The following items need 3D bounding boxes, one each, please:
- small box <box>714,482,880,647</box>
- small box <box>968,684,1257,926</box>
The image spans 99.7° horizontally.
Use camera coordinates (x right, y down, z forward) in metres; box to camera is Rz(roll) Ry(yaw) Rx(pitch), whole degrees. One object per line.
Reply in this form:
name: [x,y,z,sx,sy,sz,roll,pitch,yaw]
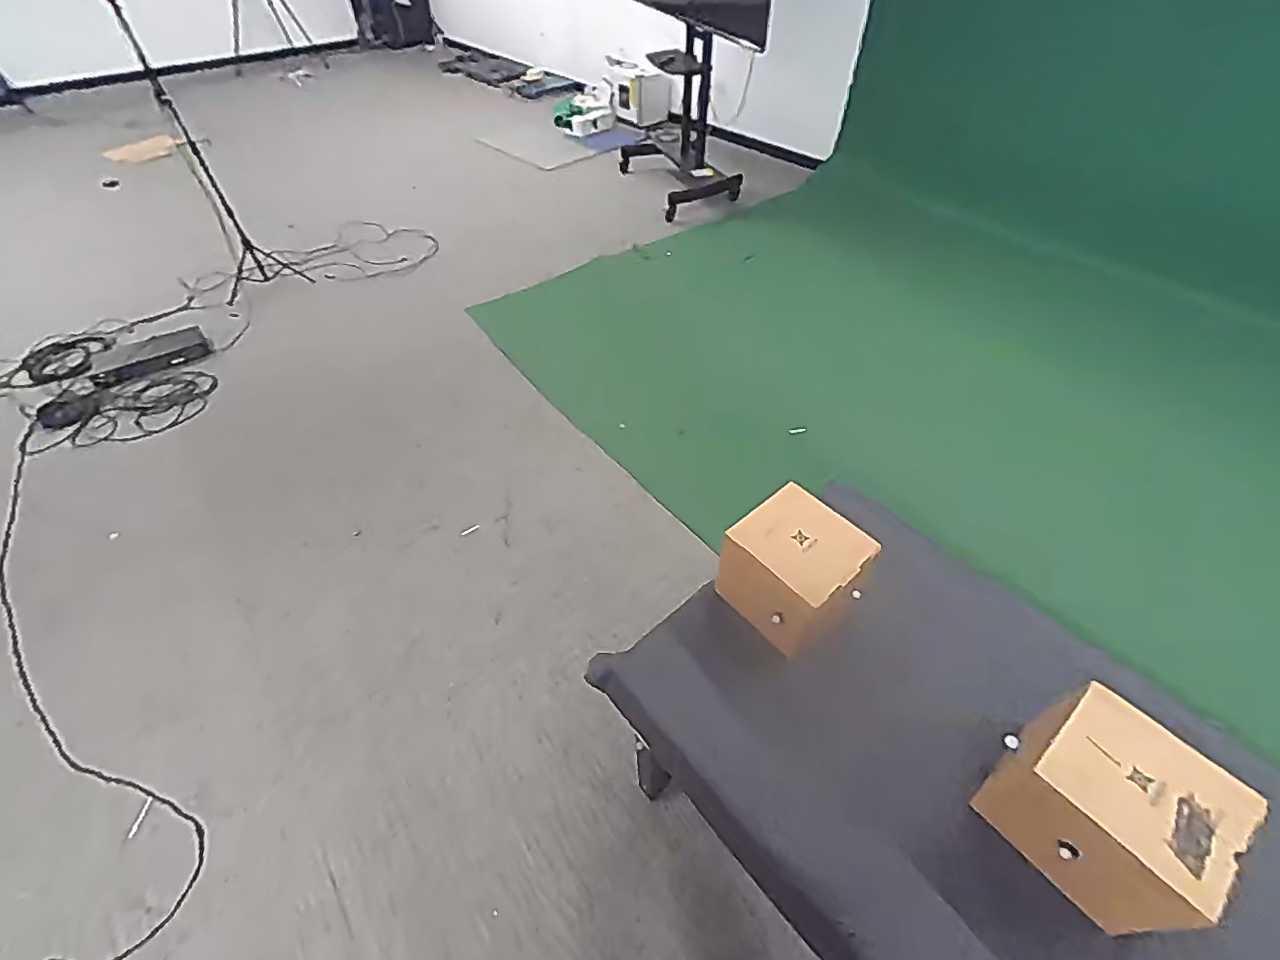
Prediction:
small box: [0.242,0.143,0.872,0.168,0.176,0.179,-31,55,-28]
small box: [0.550,0.391,0.653,0.168,0.176,0.179,-30,54,-25]
